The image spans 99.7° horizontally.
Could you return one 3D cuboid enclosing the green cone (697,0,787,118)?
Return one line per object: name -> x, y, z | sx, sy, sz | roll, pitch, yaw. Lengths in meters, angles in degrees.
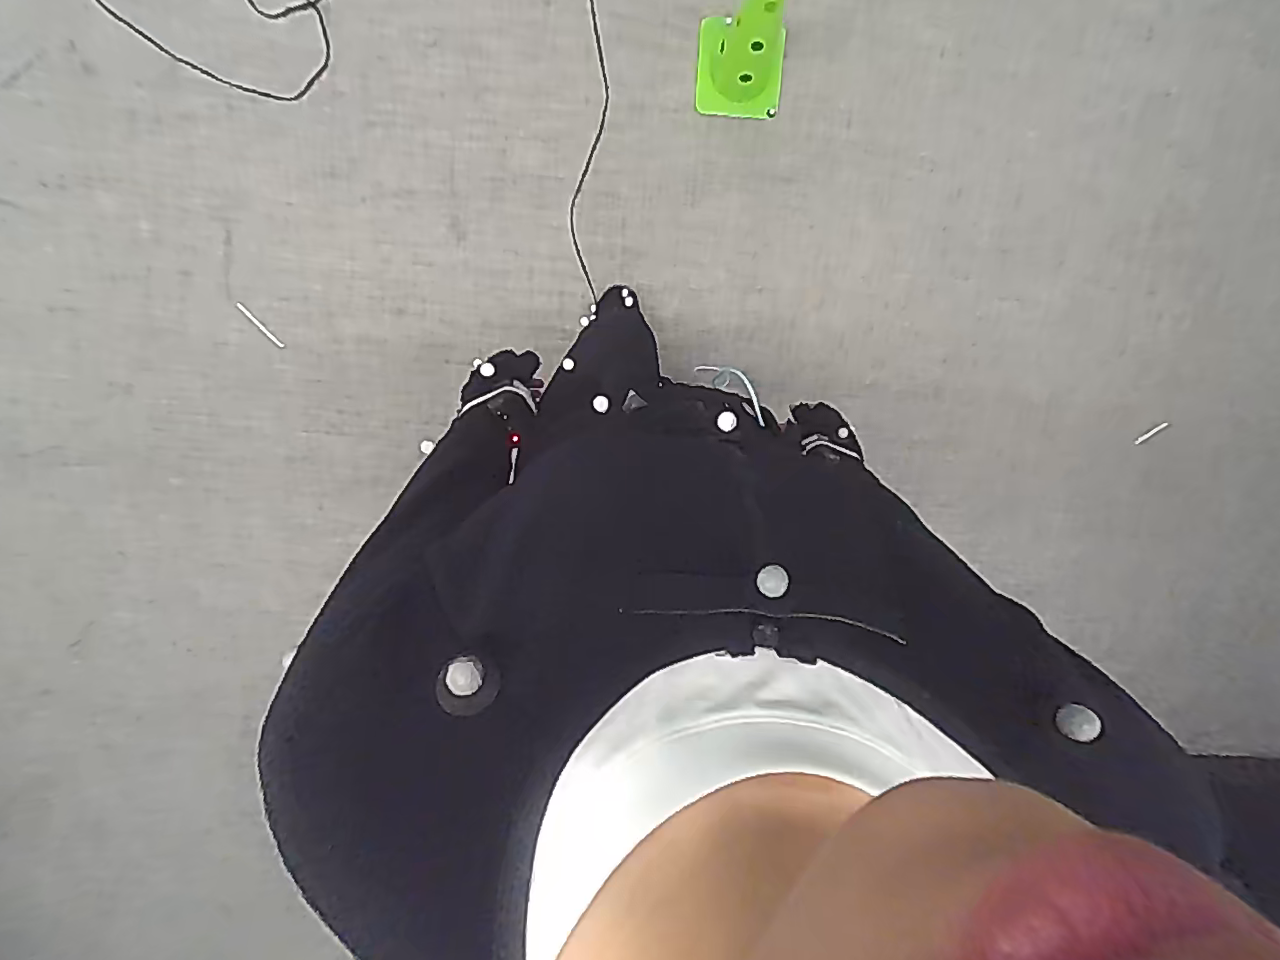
green cone -> 0.241, -0.933, 1.103 | 0.202, 0.368, 0.200 | 3, 102, -1
